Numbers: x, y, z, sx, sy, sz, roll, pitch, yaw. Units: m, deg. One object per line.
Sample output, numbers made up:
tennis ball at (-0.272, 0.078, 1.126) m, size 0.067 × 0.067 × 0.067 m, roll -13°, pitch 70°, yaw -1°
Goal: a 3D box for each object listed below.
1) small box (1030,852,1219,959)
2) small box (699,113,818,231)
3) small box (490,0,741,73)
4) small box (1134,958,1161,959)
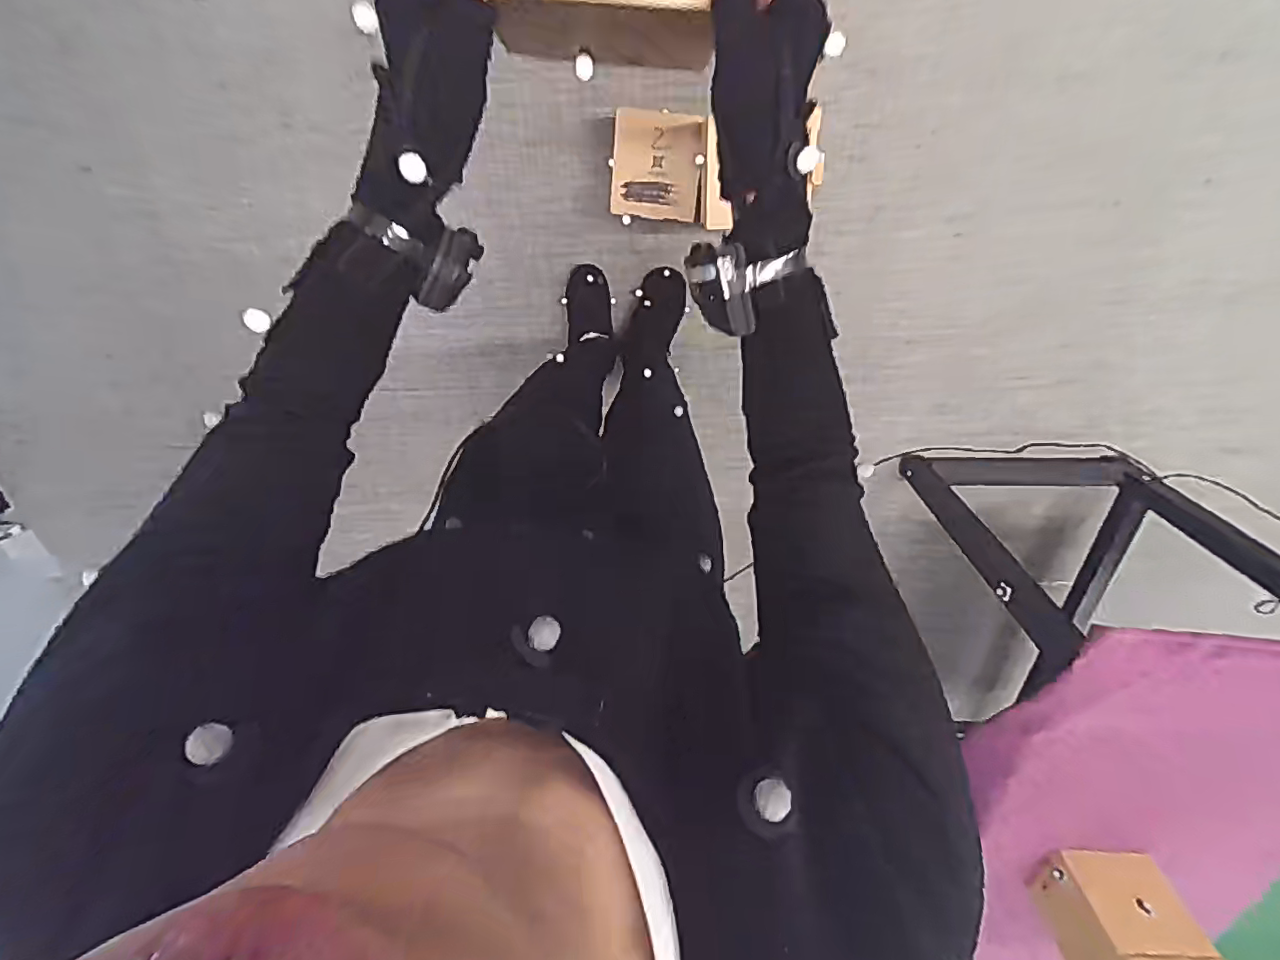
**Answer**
small box at (0.889, 0.832, 1.017) m, size 0.179 × 0.176 × 0.168 m, roll 1°, pitch 119°, yaw 1°
small box at (0.194, -0.530, 0.943) m, size 0.179 × 0.176 × 0.168 m, roll -2°, pitch 119°, yaw 3°
small box at (-0.019, -0.390, 0.342) m, size 0.168 × 0.176 × 0.179 m, roll 3°, pitch 117°, yaw -3°
small box at (0.891, 0.910, 0.872) m, size 0.179 × 0.176 × 0.168 m, roll 1°, pitch 118°, yaw 2°
